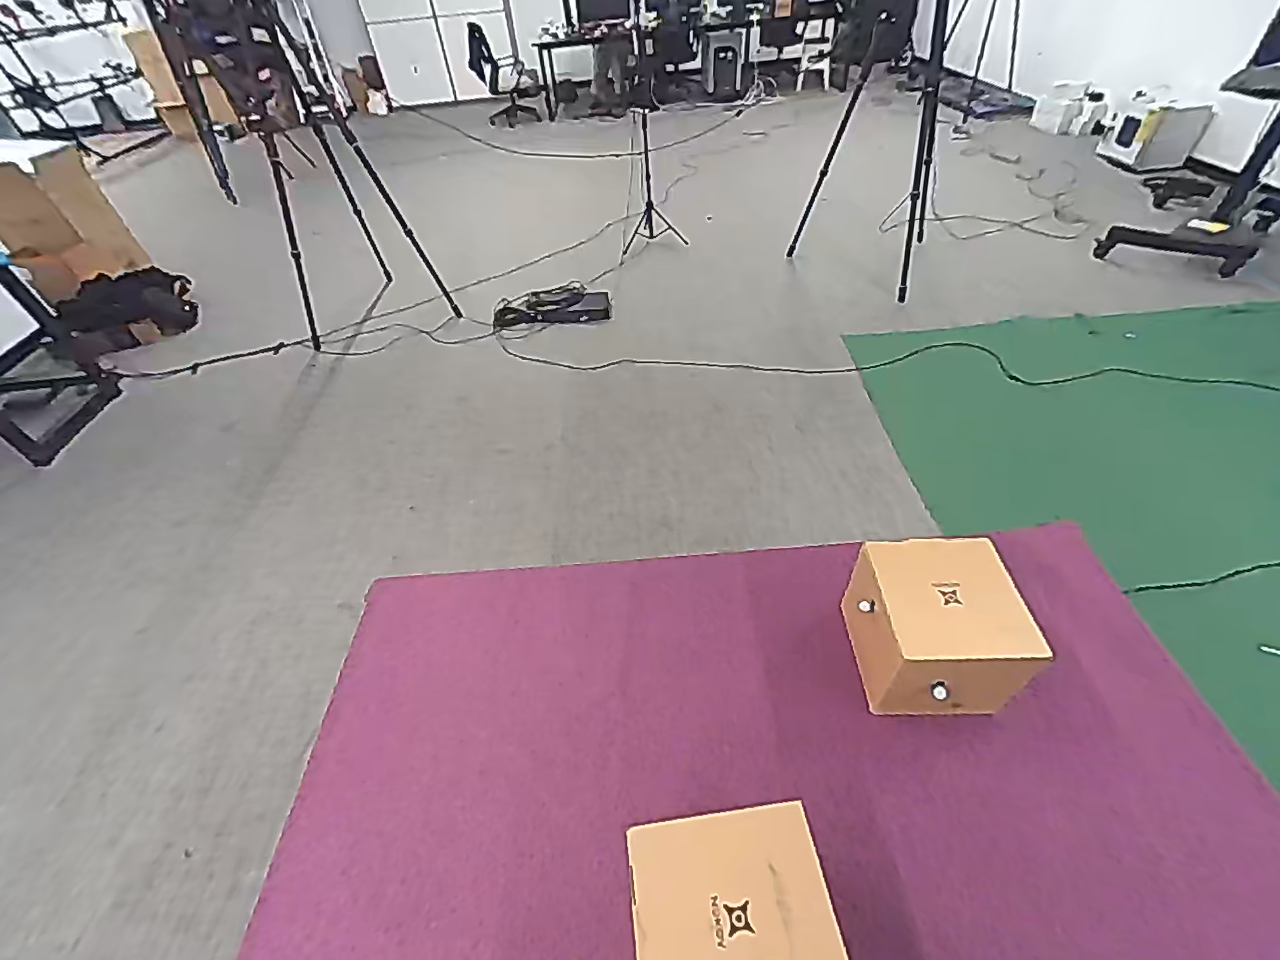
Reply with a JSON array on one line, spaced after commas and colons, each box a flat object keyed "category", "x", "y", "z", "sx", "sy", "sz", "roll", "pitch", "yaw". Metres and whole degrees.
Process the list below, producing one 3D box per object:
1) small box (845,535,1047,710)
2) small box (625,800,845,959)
[{"category": "small box", "x": 0.390, "y": 0.197, "z": 0.729, "sx": 0.168, "sy": 0.176, "sz": 0.179, "roll": -3, "pitch": 44, "yaw": 5}, {"category": "small box", "x": 0.087, "y": 0.438, "z": 0.526, "sx": 0.179, "sy": 0.176, "sz": 0.168, "roll": -8, "pitch": 45, "yaw": -1}]
